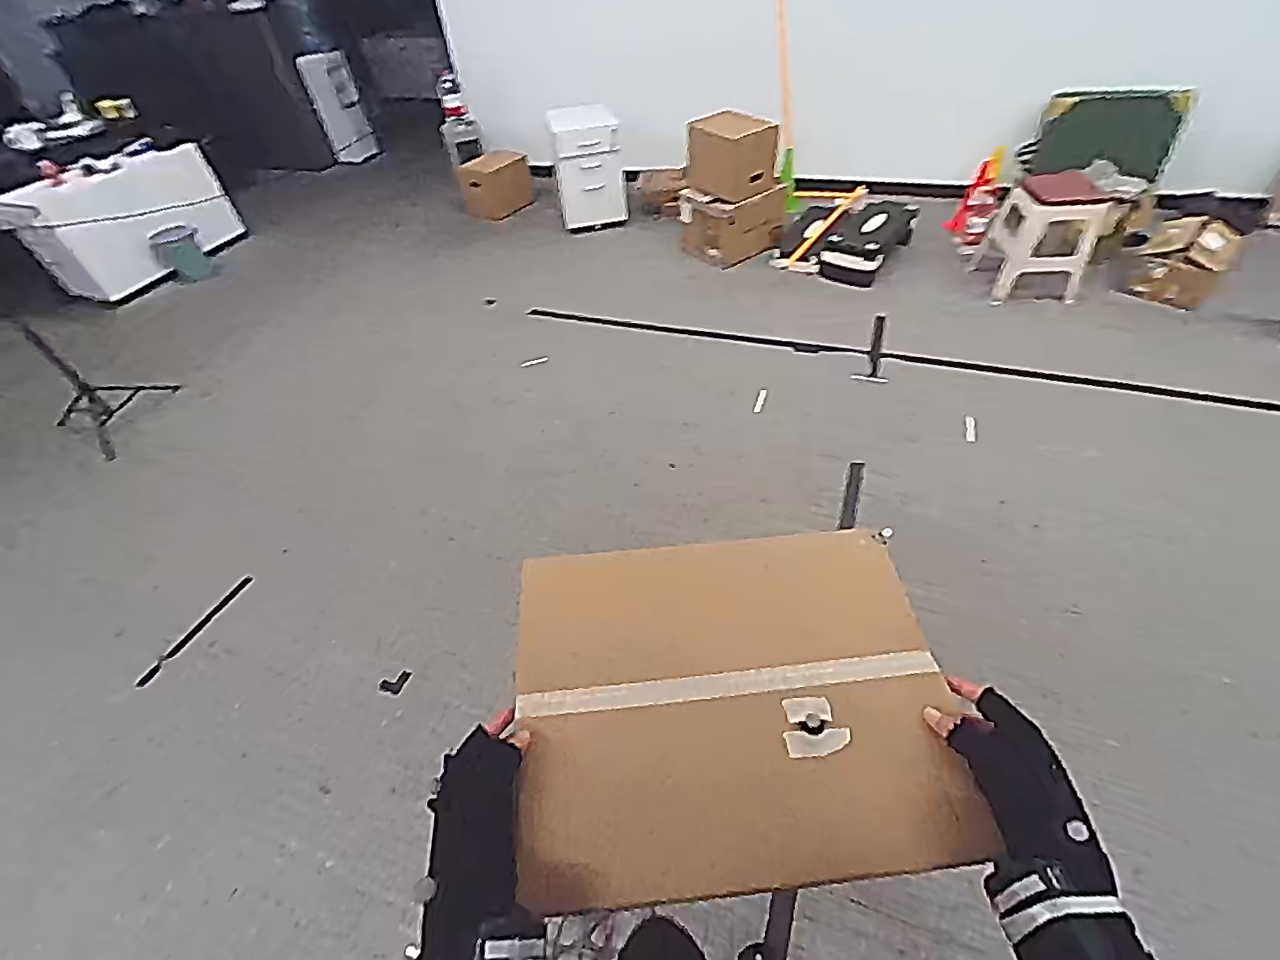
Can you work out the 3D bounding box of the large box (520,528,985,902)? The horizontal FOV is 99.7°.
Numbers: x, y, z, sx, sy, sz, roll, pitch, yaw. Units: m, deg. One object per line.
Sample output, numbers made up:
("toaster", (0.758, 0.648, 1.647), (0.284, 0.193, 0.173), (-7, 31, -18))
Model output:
("large box", (0.083, 0.287, 0.653), (0.408, 0.320, 0.320), (-5, 53, -3))
